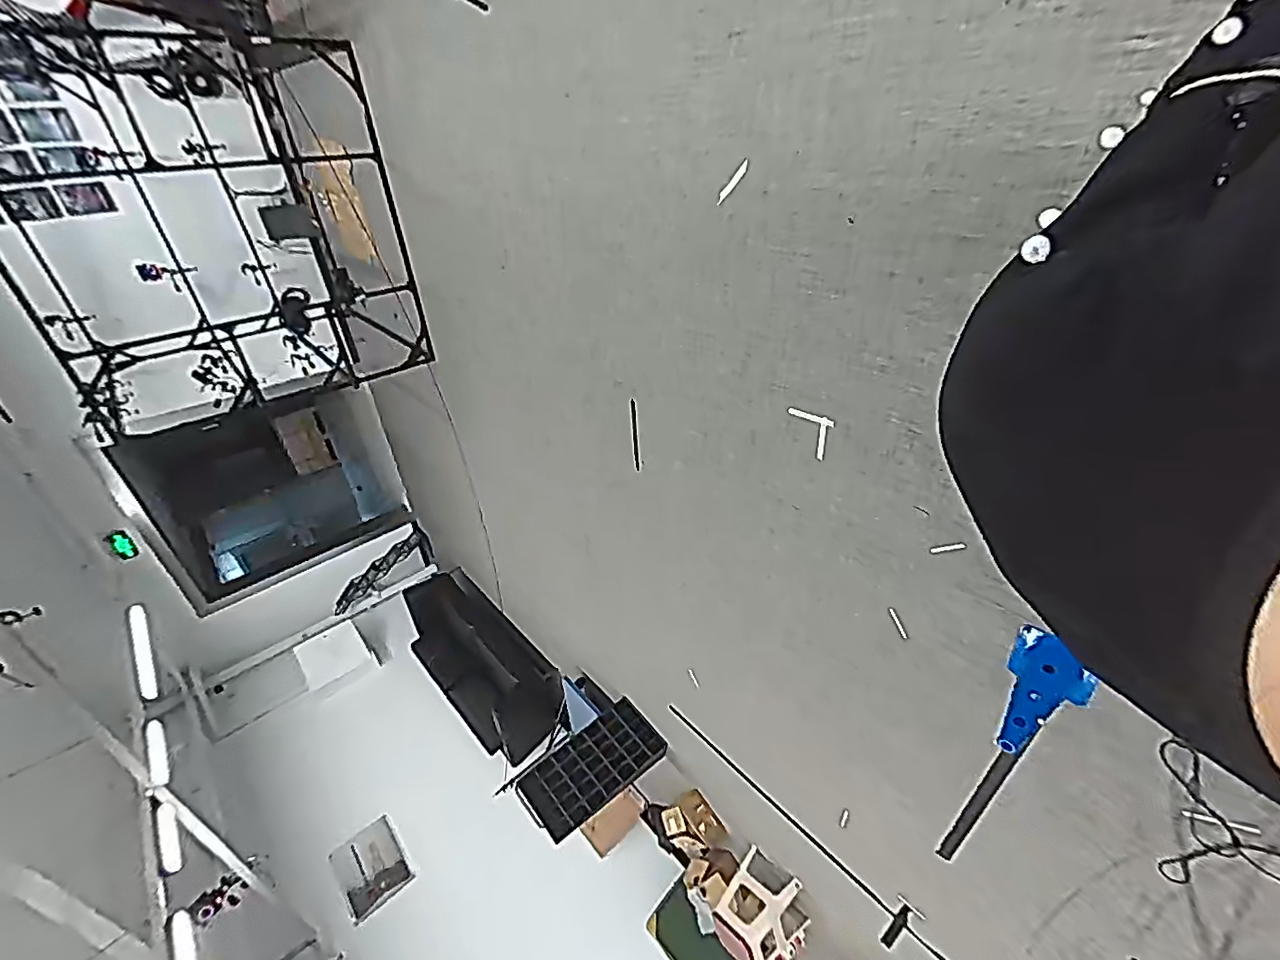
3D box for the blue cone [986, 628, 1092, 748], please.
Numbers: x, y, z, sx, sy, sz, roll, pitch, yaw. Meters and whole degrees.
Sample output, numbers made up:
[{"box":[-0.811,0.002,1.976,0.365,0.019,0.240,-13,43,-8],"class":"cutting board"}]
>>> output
[{"box":[1.039,0.593,1.456,0.192,0.380,0.193,28,134,42],"class":"blue cone"}]
